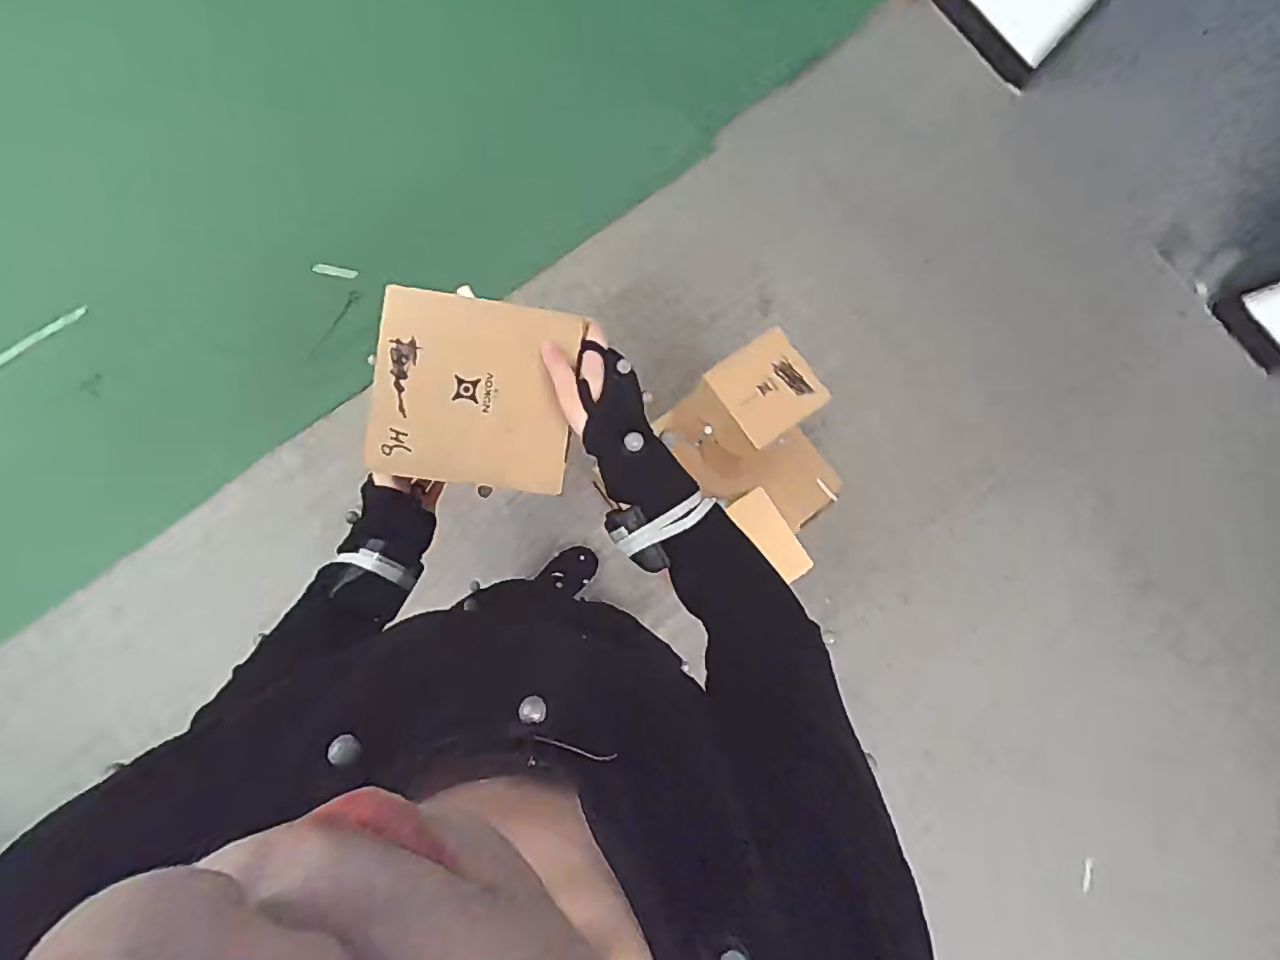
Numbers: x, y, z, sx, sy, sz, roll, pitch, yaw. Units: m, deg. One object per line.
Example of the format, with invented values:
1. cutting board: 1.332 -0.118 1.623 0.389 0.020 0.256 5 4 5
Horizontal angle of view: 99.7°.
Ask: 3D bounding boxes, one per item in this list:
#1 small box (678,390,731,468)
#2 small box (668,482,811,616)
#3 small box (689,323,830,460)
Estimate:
1. small box: 0.205 -0.149 1.195 0.179 0.176 0.168 -37 86 -11
2. small box: 0.170 0.123 0.990 0.179 0.176 0.168 -33 87 -8
3. small box: 0.216 -0.160 1.030 0.179 0.176 0.168 -34 86 -10
